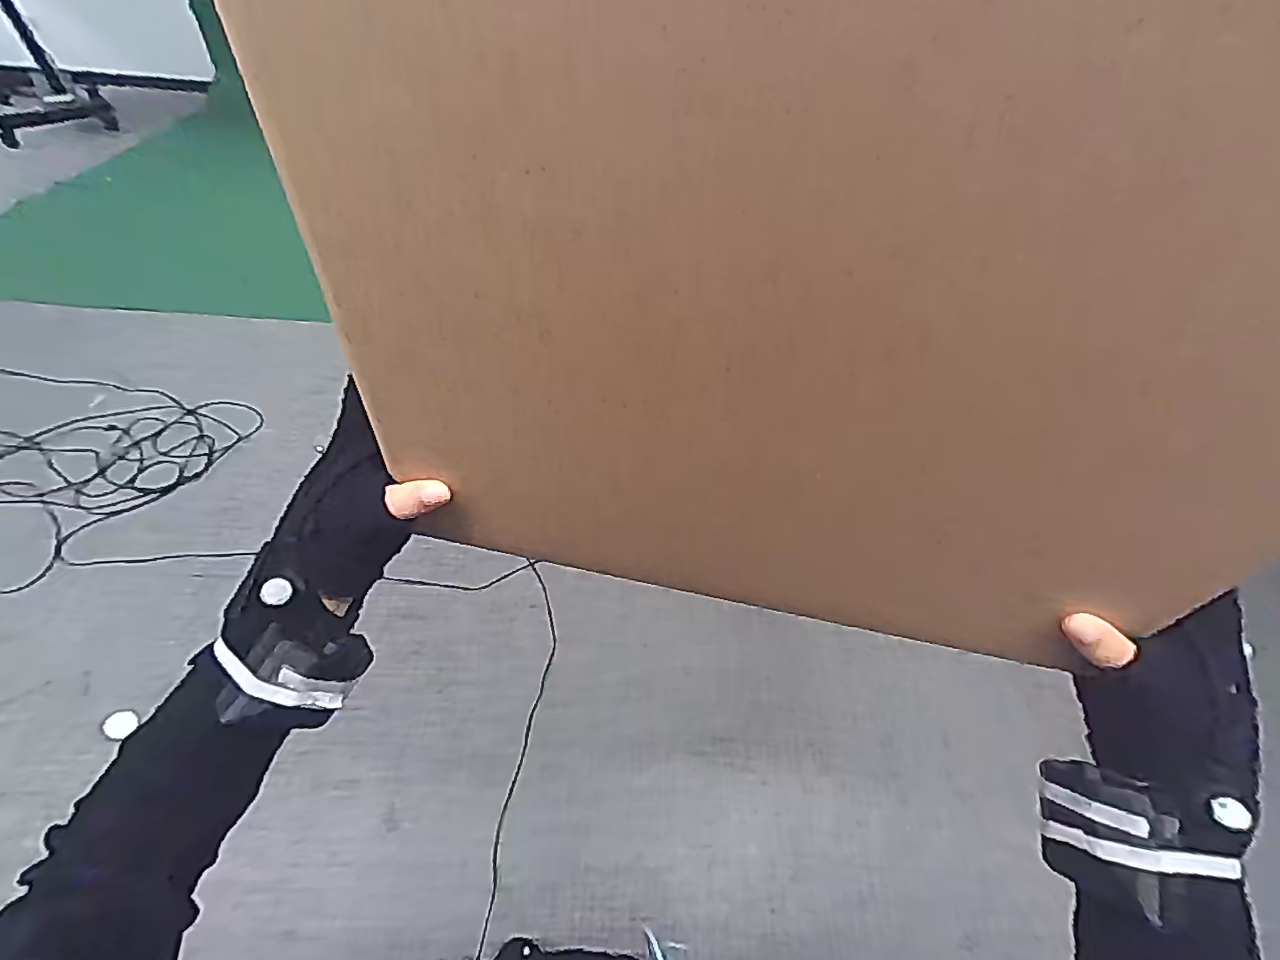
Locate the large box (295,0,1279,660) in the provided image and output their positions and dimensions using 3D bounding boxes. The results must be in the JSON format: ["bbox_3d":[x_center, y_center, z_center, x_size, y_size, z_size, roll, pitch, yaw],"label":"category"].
[{"bbox_3d":[0.106,-0.135,0.317,0.408,0.320,0.320,12,47,2],"label":"large box"}]
